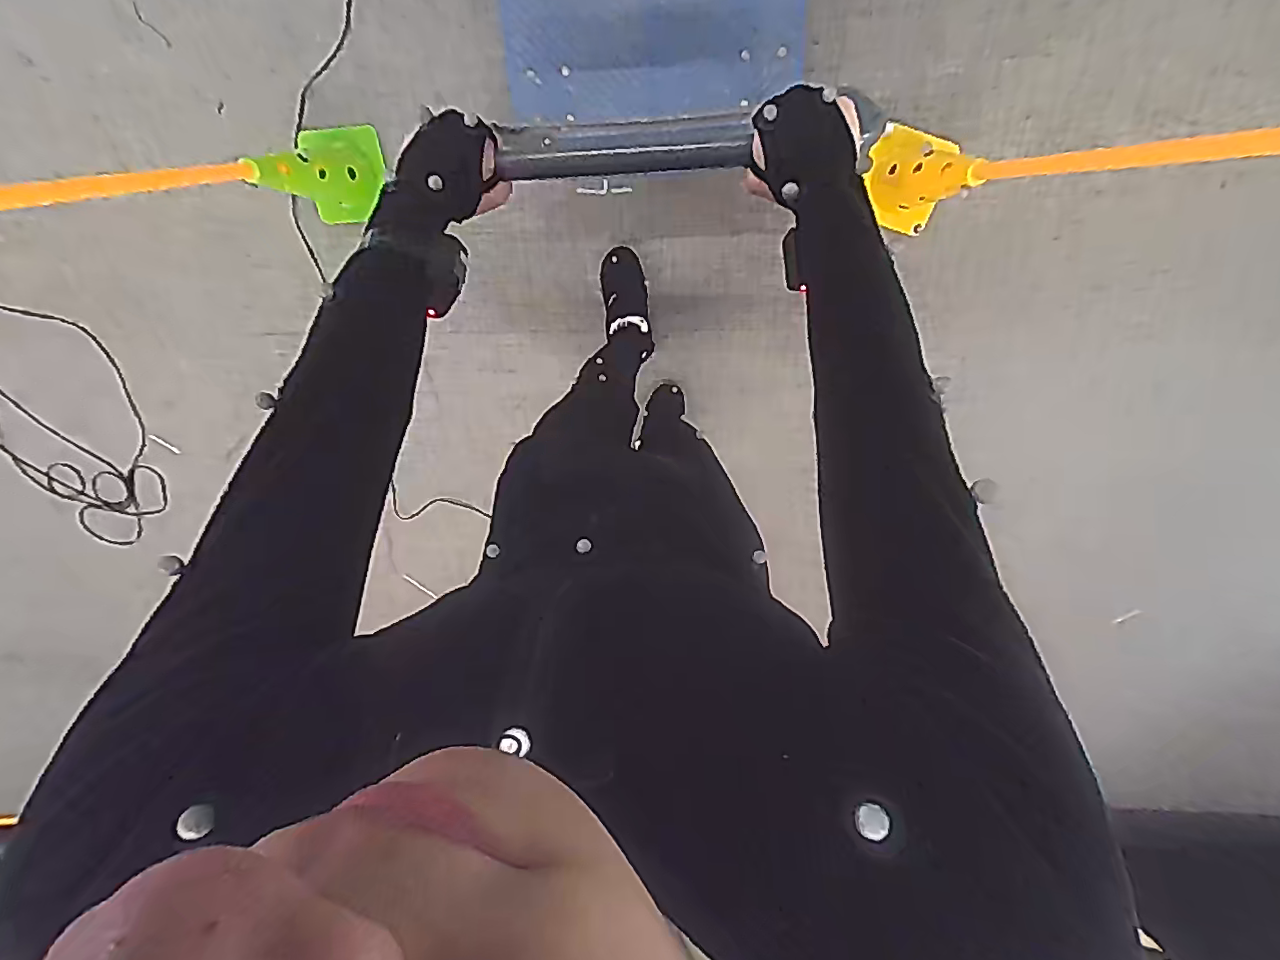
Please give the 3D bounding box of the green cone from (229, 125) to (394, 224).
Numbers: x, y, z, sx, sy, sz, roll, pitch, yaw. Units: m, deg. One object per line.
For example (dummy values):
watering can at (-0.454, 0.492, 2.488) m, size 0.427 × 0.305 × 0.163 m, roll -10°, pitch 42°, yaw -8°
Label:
green cone at (-0.728, -0.662, 1.164) m, size 0.202 × 0.368 × 0.200 m, roll -2°, pitch 117°, yaw 7°
